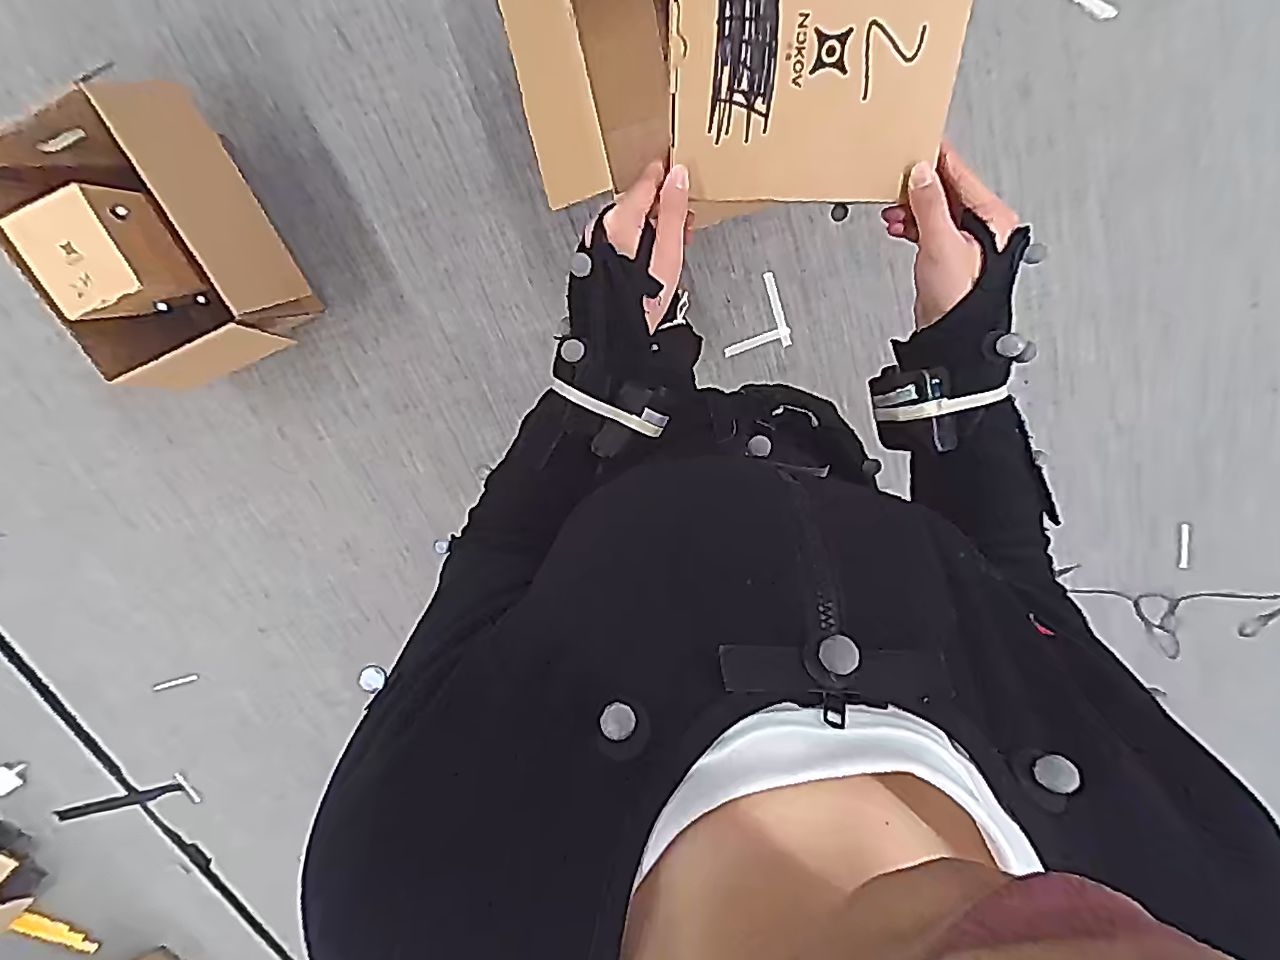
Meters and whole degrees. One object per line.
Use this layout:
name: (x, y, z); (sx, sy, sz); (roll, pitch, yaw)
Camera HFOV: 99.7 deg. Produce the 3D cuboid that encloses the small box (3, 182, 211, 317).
small box: (-0.962, -0.414, 0.996); (0.168, 0.176, 0.179); (-18, 109, 8)
